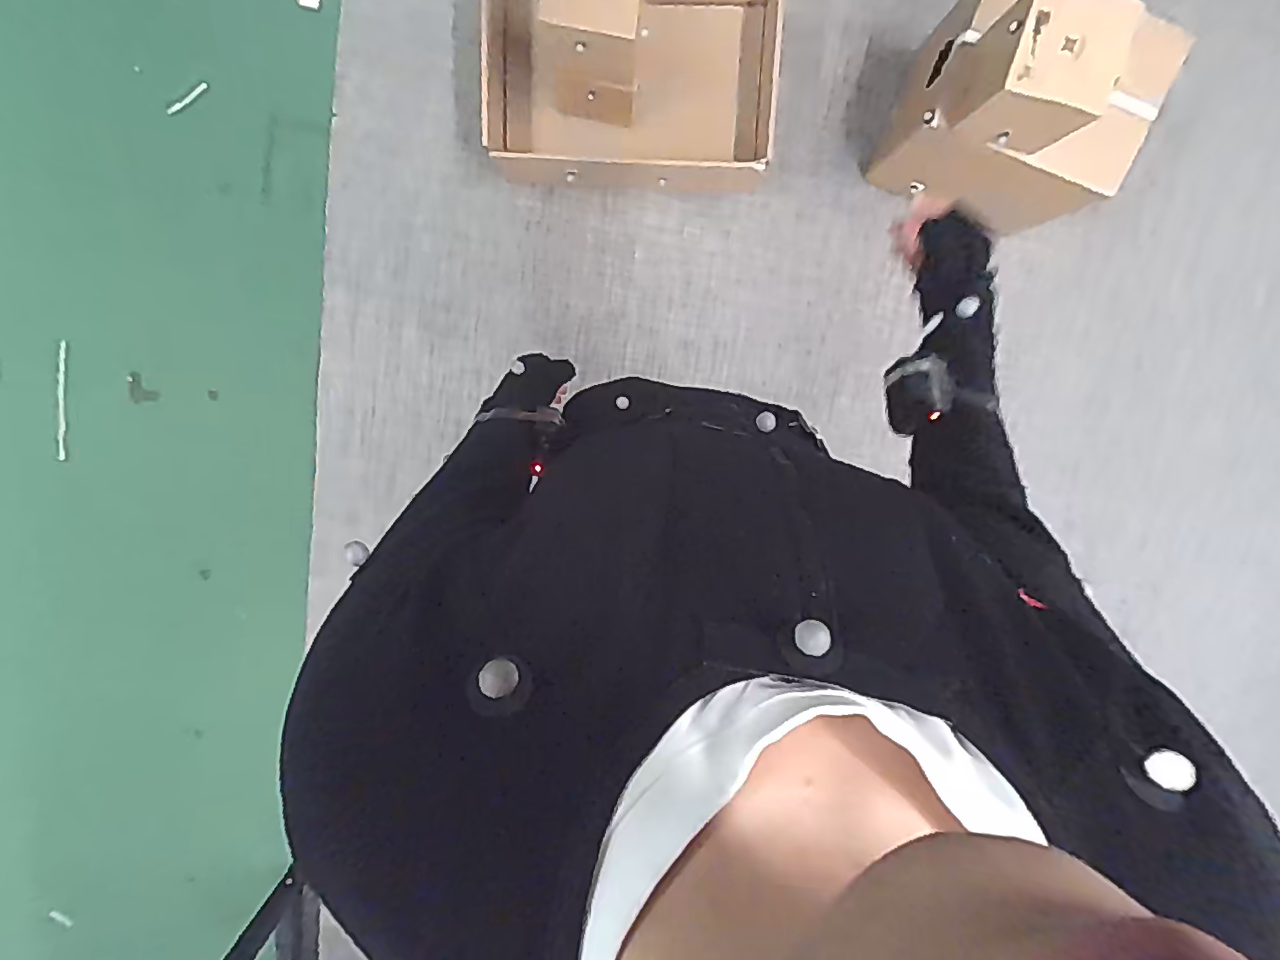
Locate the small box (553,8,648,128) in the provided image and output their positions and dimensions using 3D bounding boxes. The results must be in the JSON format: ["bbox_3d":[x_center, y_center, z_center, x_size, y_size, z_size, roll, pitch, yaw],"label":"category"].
[{"bbox_3d":[-0.085,-0.904,1.182,0.179,0.176,0.168,8,100,-4],"label":"small box"}]

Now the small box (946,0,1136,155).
[{"bbox_3d":[0.689,-0.703,0.951,0.179,0.176,0.168,14,101,-3],"label":"small box"}]

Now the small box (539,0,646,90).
[{"bbox_3d":[-0.084,-0.877,1.020,0.179,0.176,0.168,8,100,-4],"label":"small box"}]
